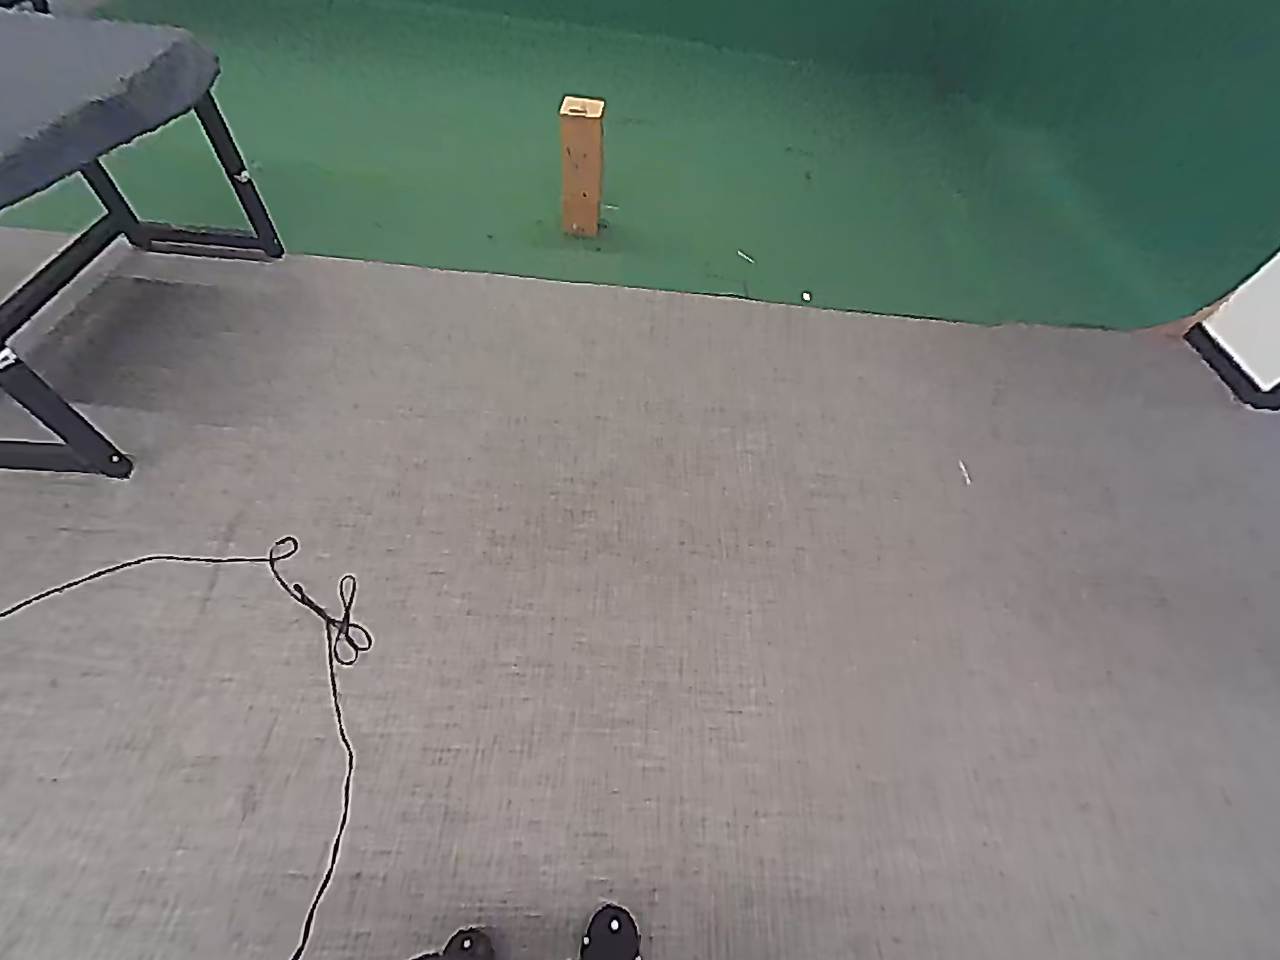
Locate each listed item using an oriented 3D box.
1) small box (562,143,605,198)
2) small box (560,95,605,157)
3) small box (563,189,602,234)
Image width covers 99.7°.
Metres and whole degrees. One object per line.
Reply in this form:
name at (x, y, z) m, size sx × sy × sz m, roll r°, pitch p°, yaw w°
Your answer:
small box at (-0.251, -1.386, 2.404) m, size 0.168 × 0.176 × 0.179 m, roll 6°, pitch 53°, yaw -1°
small box at (-0.240, -1.487, 2.275) m, size 0.168 × 0.176 × 0.179 m, roll 6°, pitch 53°, yaw -2°
small box at (-0.269, -1.287, 2.534) m, size 0.168 × 0.176 × 0.179 m, roll 5°, pitch 55°, yaw -2°
